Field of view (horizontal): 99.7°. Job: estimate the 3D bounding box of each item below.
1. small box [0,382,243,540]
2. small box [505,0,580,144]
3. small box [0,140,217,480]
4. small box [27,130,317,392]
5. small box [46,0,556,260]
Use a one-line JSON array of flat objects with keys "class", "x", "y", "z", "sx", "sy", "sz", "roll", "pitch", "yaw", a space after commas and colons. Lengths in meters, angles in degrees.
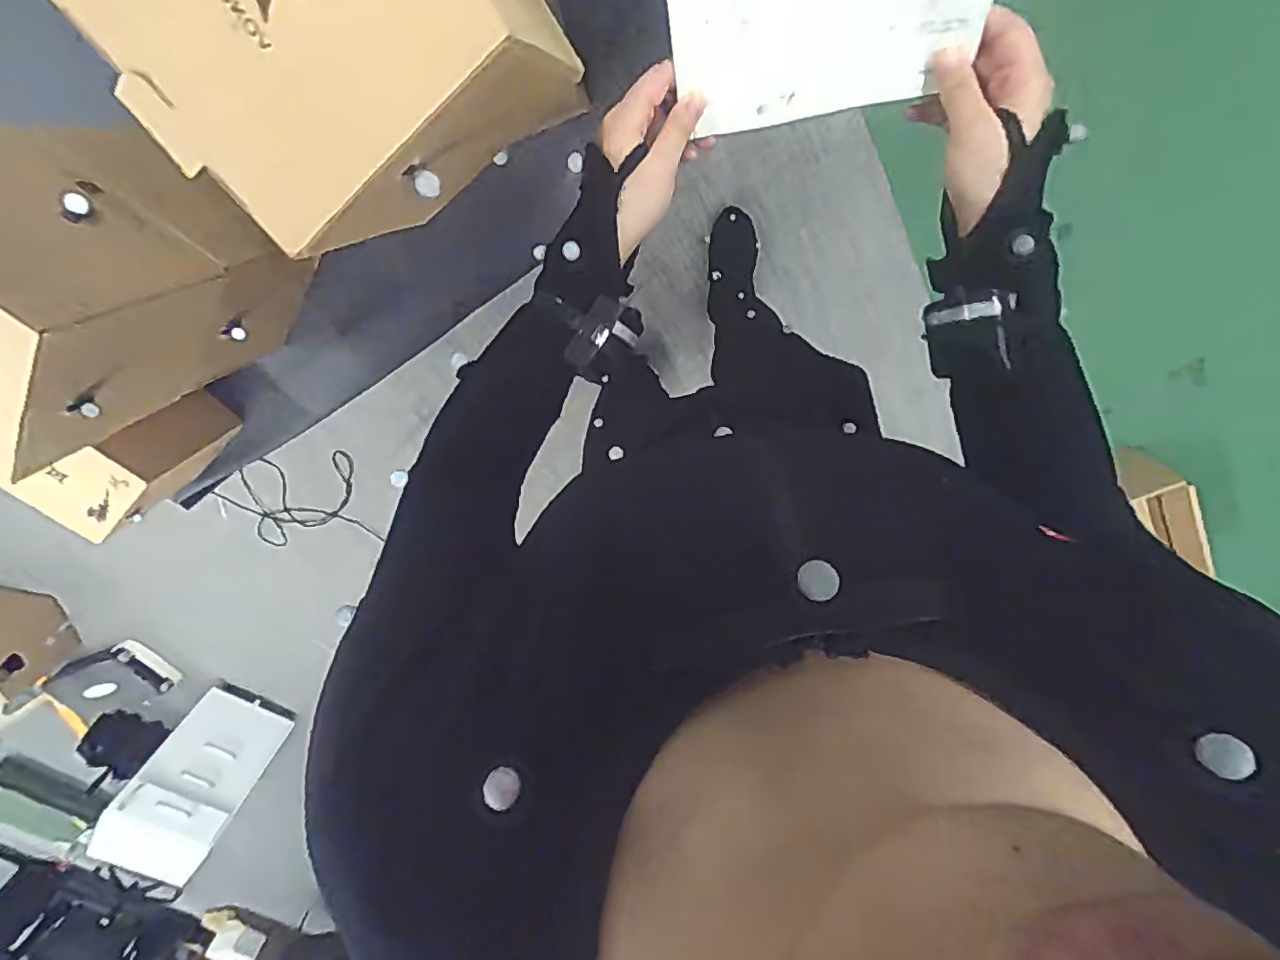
[{"class": "small box", "x": -0.691, "y": -0.061, "z": 0.714, "sx": 0.168, "sy": 0.176, "sz": 0.179, "roll": -32, "pitch": 114, "yaw": 25}, {"class": "small box", "x": -0.165, "y": -0.372, "z": 0.439, "sx": 0.168, "sy": 0.176, "sz": 0.179, "roll": -12, "pitch": 121, "yaw": 16}, {"class": "small box", "x": -0.498, "y": -0.140, "z": 0.440, "sx": 0.168, "sy": 0.176, "sz": 0.179, "roll": 39, "pitch": 120, "yaw": -18}, {"class": "small box", "x": -0.483, "y": -0.234, "z": 0.574, "sx": 0.168, "sy": 0.176, "sz": 0.179, "roll": 36, "pitch": 121, "yaw": -17}, {"class": "small box", "x": -0.167, "y": -0.265, "z": 0.314, "sx": 0.179, "sy": 0.176, "sz": 0.168, "roll": -28, "pitch": 116, "yaw": 24}]
